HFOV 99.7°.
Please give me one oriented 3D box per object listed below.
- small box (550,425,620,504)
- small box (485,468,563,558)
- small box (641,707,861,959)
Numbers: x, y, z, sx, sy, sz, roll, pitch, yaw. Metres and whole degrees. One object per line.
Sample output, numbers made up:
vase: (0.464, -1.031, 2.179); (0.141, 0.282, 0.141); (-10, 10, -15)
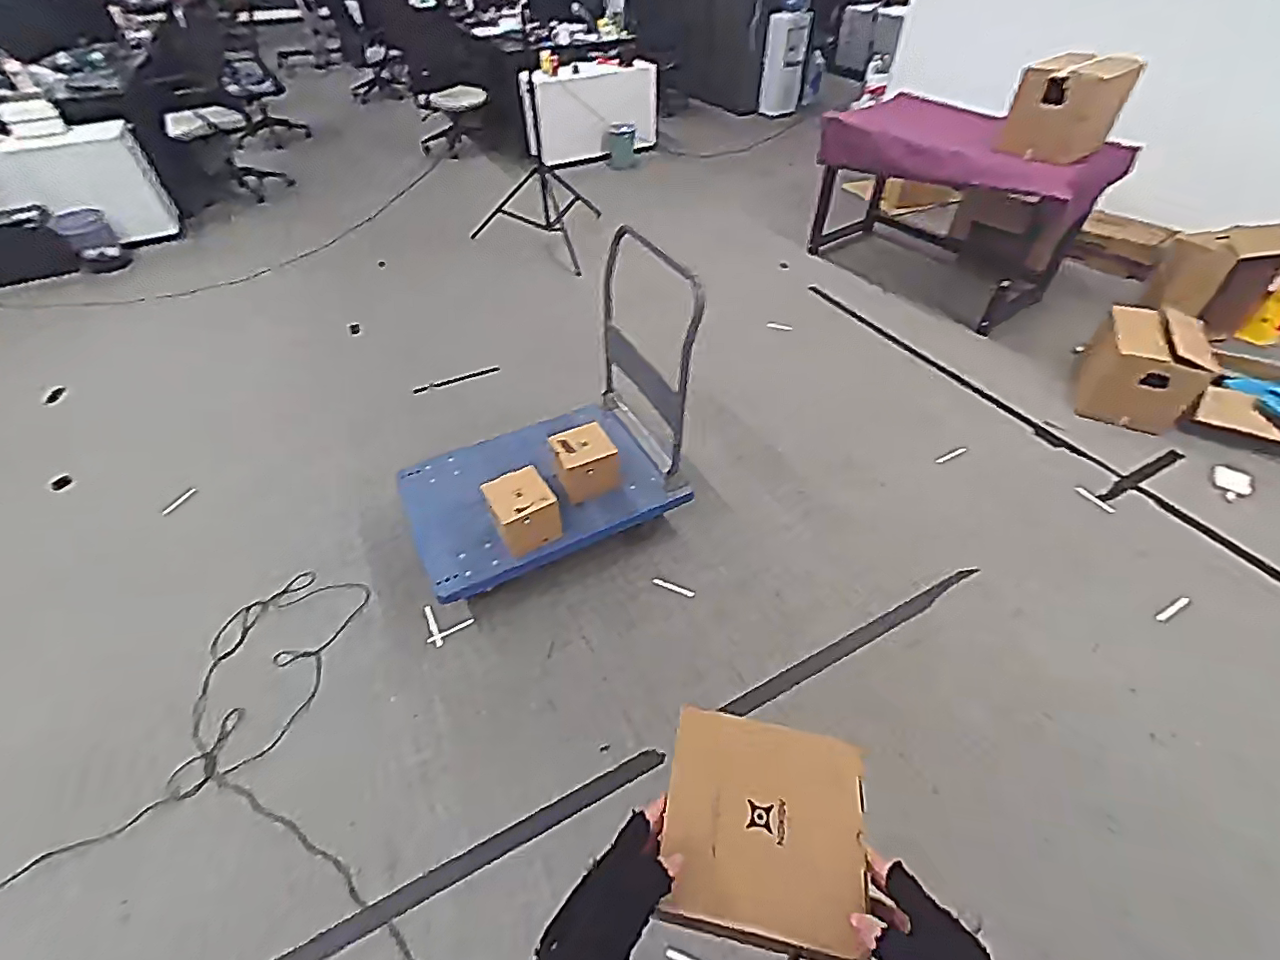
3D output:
small box: (-0.175, -0.047, 1.767); (0.179, 0.176, 0.168); (-20, 49, -18)
small box: (-0.346, 0.101, 1.628); (0.168, 0.176, 0.179); (-25, 50, -21)
small box: (0.100, 0.351, 0.538); (0.179, 0.176, 0.168); (7, 47, 7)
